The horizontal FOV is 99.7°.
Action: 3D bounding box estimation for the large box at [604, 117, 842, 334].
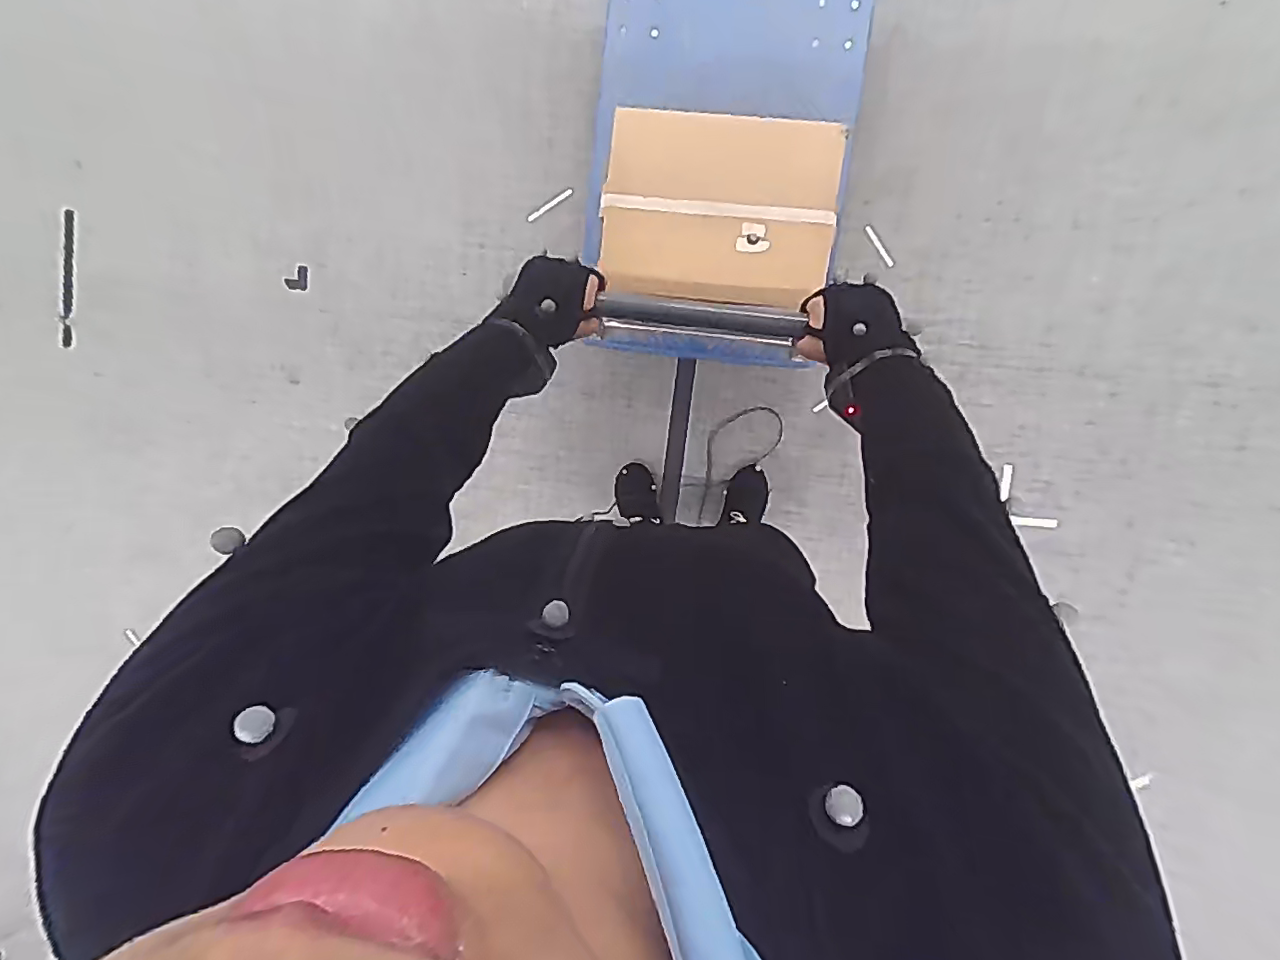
[{"bbox_3d":[0.151,-0.493,1.115,0.408,0.320,0.320,6,98,4],"label":"large box"}]
